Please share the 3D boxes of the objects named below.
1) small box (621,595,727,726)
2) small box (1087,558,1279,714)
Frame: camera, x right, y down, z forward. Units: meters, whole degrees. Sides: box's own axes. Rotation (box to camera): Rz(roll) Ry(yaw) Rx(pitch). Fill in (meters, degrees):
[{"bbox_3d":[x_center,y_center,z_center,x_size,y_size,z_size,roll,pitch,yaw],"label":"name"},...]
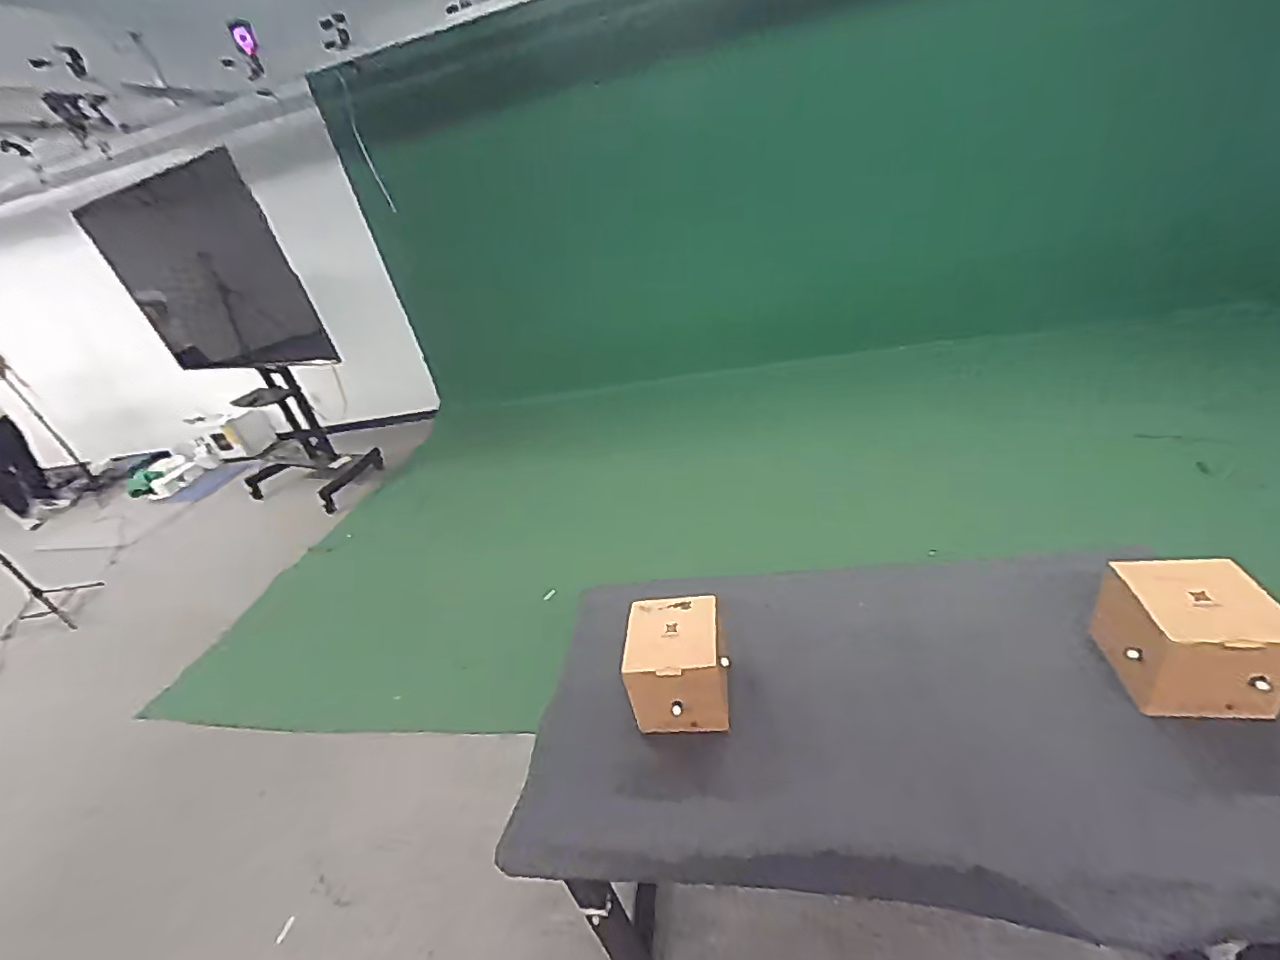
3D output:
[{"bbox_3d":[0.071,0.343,1.018,0.168,0.176,0.179,-7,31,11],"label":"small box"},{"bbox_3d":[0.856,0.245,0.854,0.168,0.176,0.179,-4,30,15],"label":"small box"}]
